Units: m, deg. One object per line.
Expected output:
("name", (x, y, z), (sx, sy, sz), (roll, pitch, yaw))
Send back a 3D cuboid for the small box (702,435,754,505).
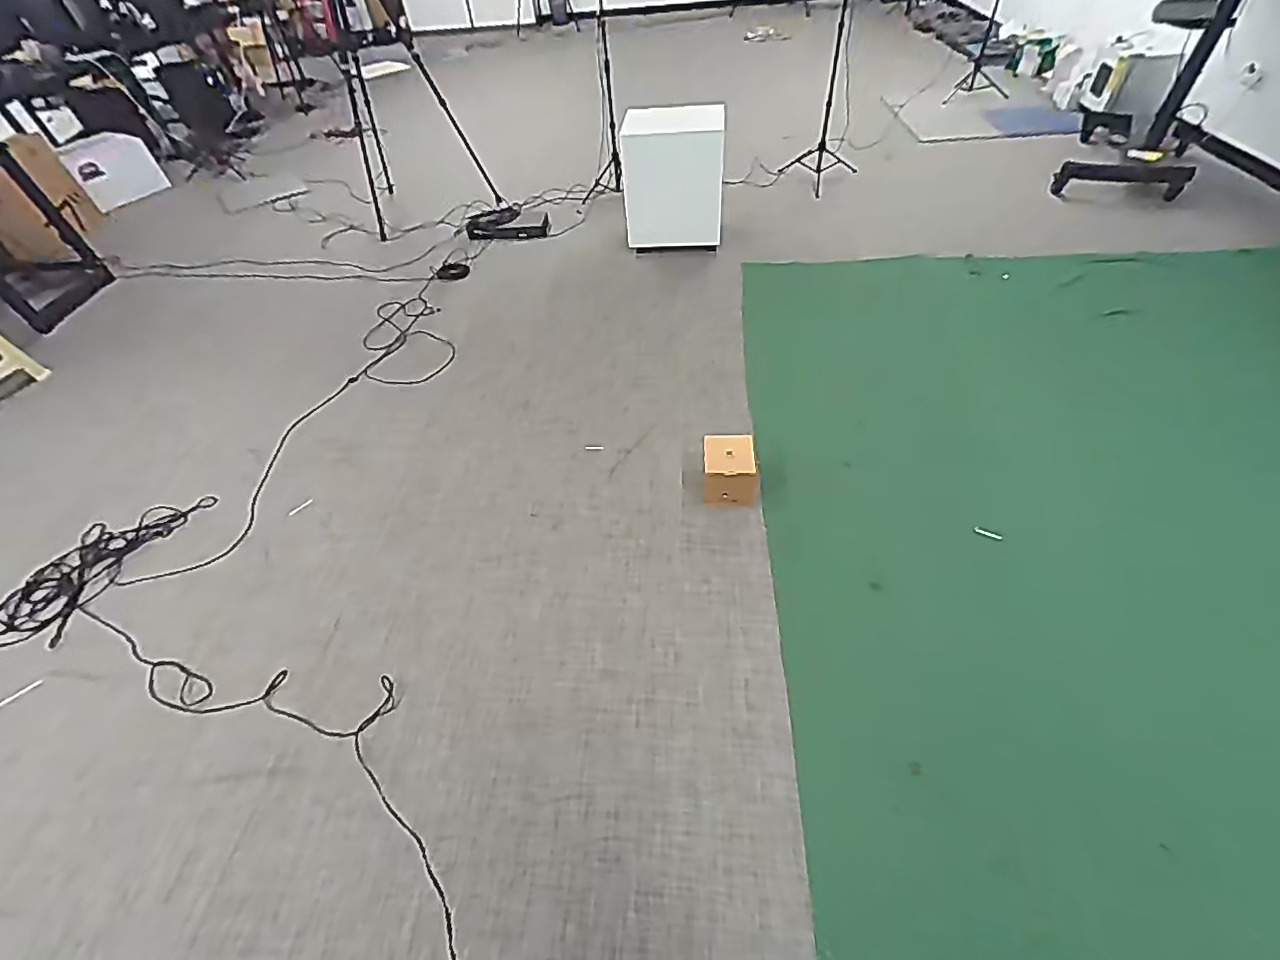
("small box", (0.298, -0.035, 1.864), (0.168, 0.176, 0.179), (0, 49, 5))
